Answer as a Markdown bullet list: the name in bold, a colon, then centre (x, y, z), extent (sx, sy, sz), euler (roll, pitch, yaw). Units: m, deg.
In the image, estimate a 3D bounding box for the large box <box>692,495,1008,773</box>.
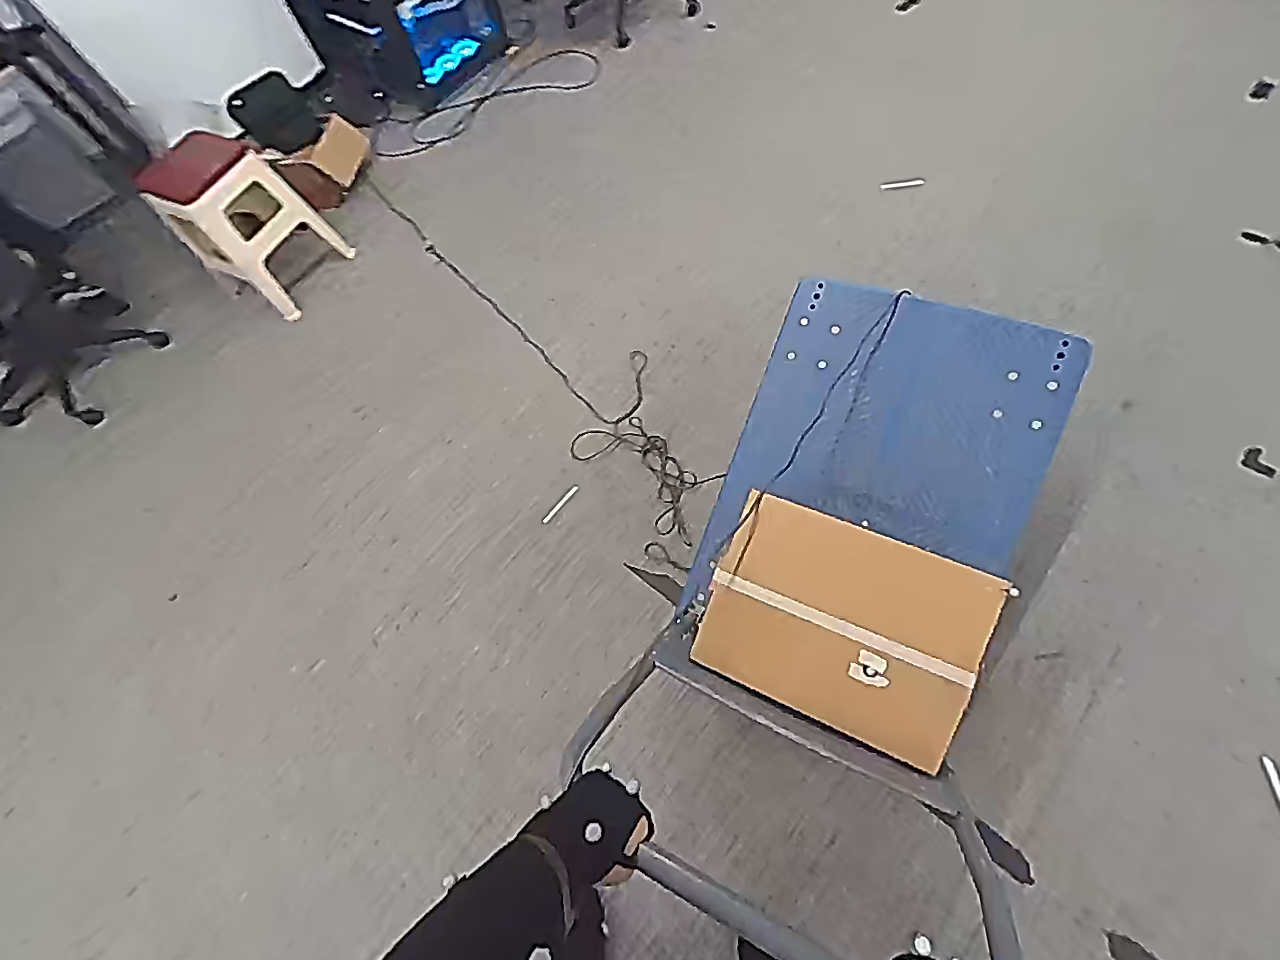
- **large box**: centre (0.353, 0.239, 0.992), extent (0.408, 0.320, 0.320), euler (21, 93, 17)
